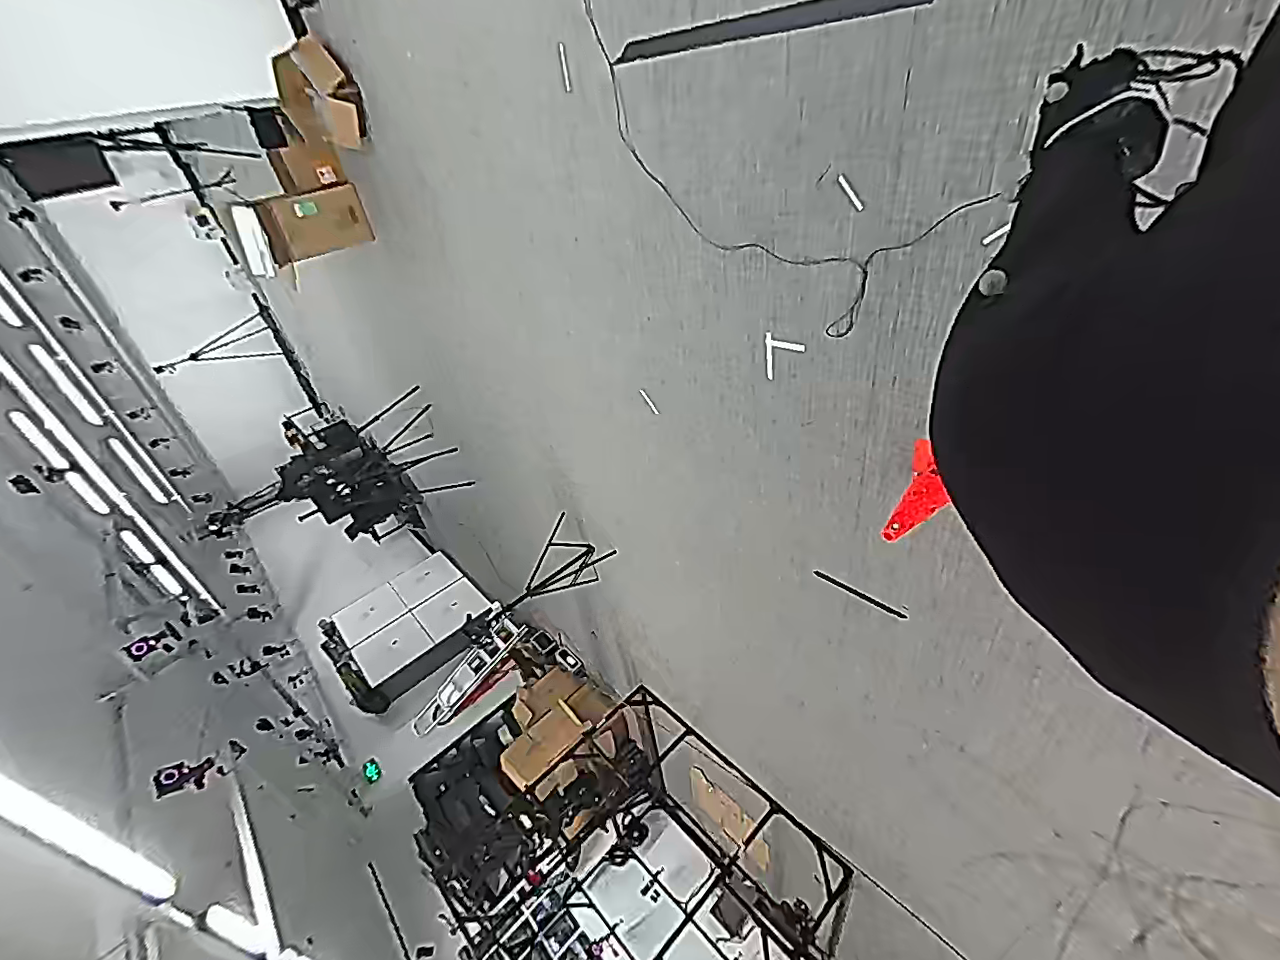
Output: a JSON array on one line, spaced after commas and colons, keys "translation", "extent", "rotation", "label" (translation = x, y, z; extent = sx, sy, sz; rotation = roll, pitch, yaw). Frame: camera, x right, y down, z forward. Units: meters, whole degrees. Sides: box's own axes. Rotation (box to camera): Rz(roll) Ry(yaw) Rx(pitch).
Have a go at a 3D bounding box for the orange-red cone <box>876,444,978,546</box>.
[{"translation": [0.776, 0.074, 1.538], "extent": [0.199, 0.360, 0.198], "rotation": [23, 137, 42], "label": "orange-red cone"}]
